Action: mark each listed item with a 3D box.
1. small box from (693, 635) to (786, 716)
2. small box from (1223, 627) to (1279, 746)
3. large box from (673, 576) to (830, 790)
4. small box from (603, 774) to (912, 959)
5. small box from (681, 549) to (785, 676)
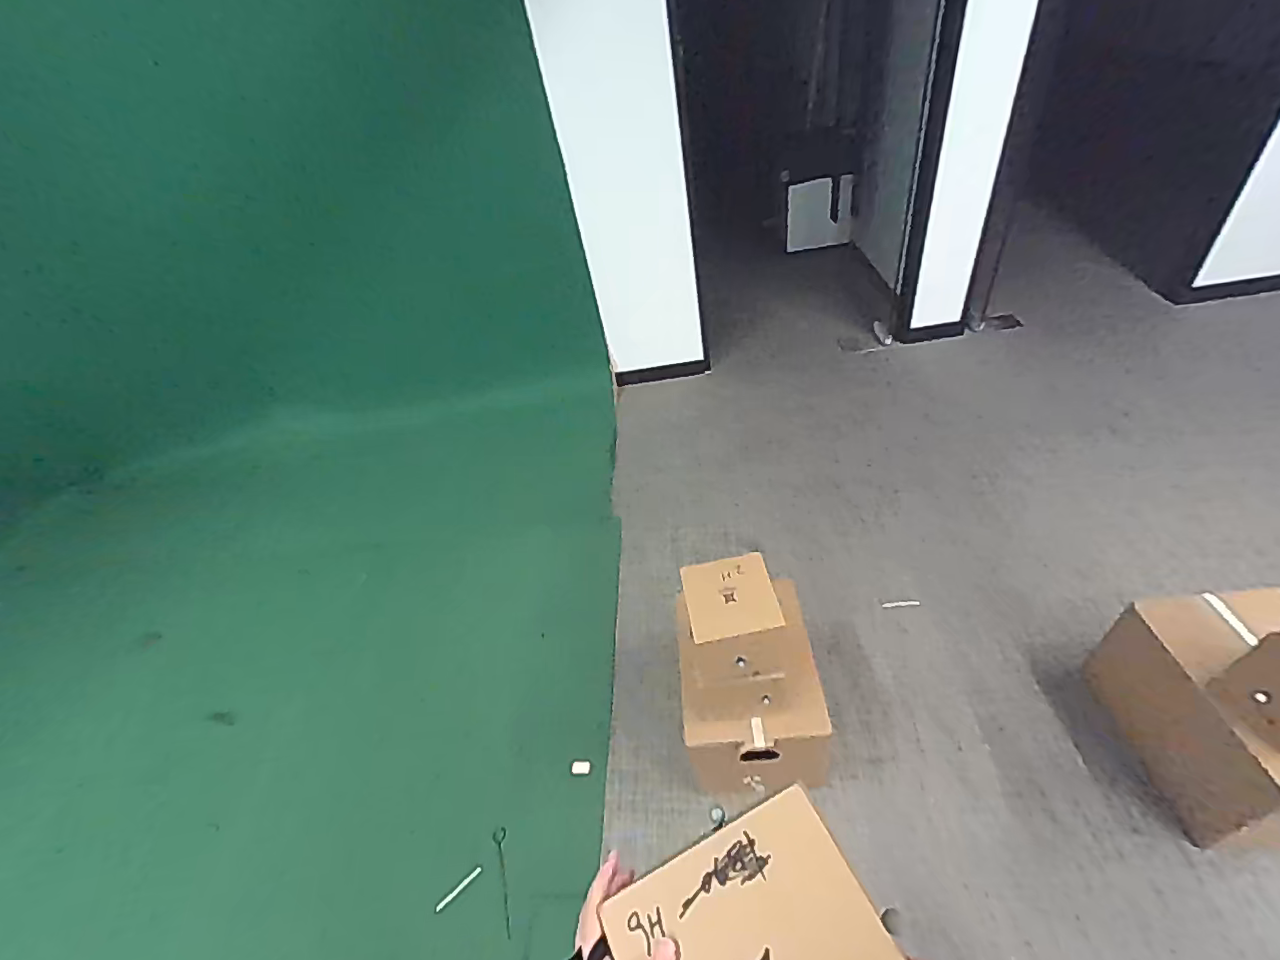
[{"bbox_3d":[0.212,0.389,1.169,0.179,0.176,0.168,-9,42,6],"label":"small box"},{"bbox_3d":[1.213,0.364,0.947,0.179,0.176,0.168,-10,43,6],"label":"small box"},{"bbox_3d":[0.272,0.514,1.382,0.320,0.320,0.408,-8,42,6],"label":"large box"},{"bbox_3d":[0.101,0.347,0.405,0.168,0.176,0.179,-31,60,-1],"label":"small box"},{"bbox_3d":[0.183,0.267,1.063,0.168,0.176,0.179,-11,41,2],"label":"small box"}]
